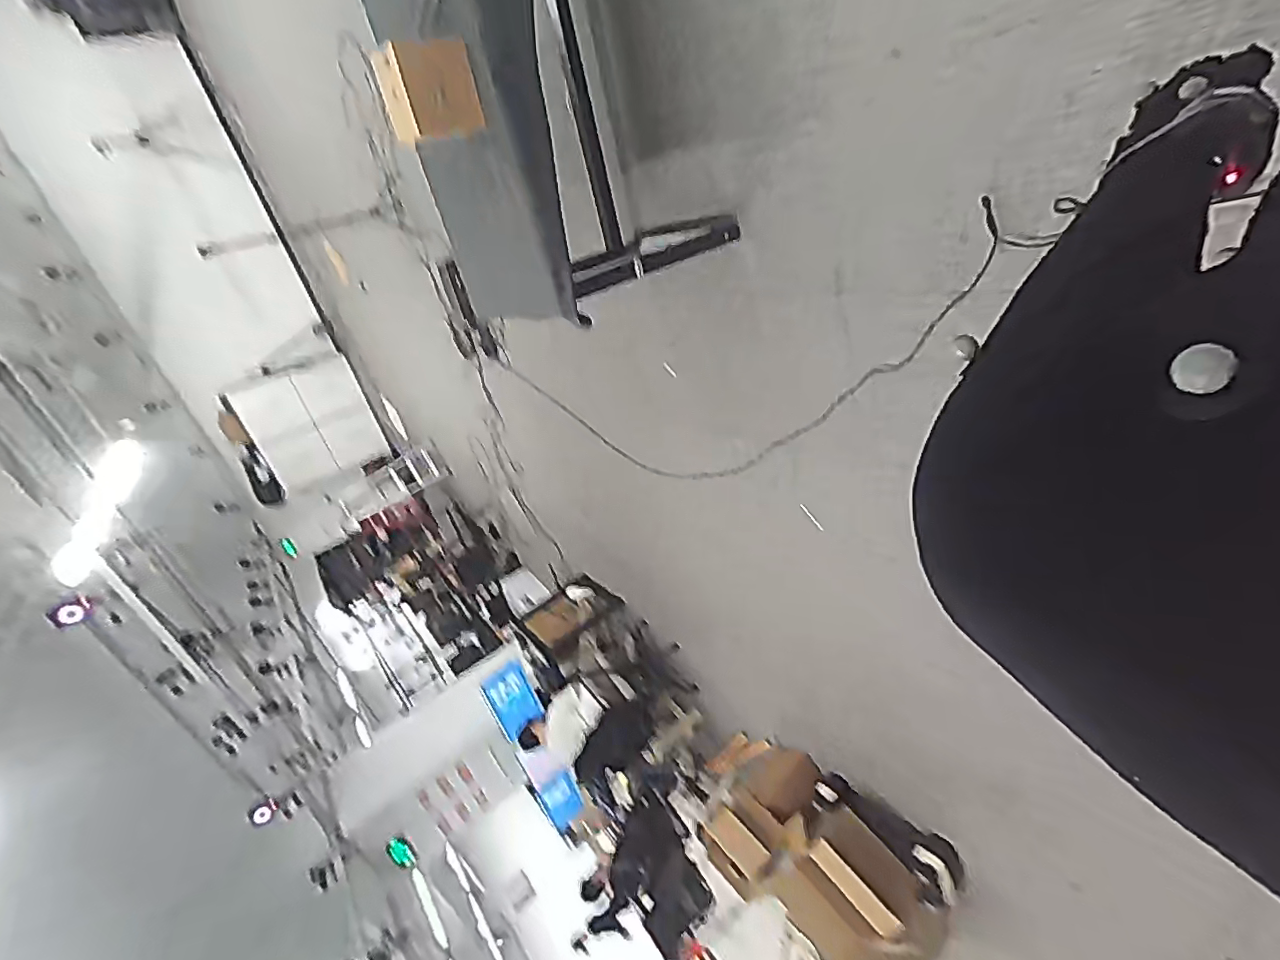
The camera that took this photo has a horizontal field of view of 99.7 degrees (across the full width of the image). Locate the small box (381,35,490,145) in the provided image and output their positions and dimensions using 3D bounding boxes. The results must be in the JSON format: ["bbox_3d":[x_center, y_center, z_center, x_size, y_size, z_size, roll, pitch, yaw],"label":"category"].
[{"bbox_3d":[-0.479,-0.919,1.281,0.168,0.176,0.179,28,138,48],"label":"small box"}]
